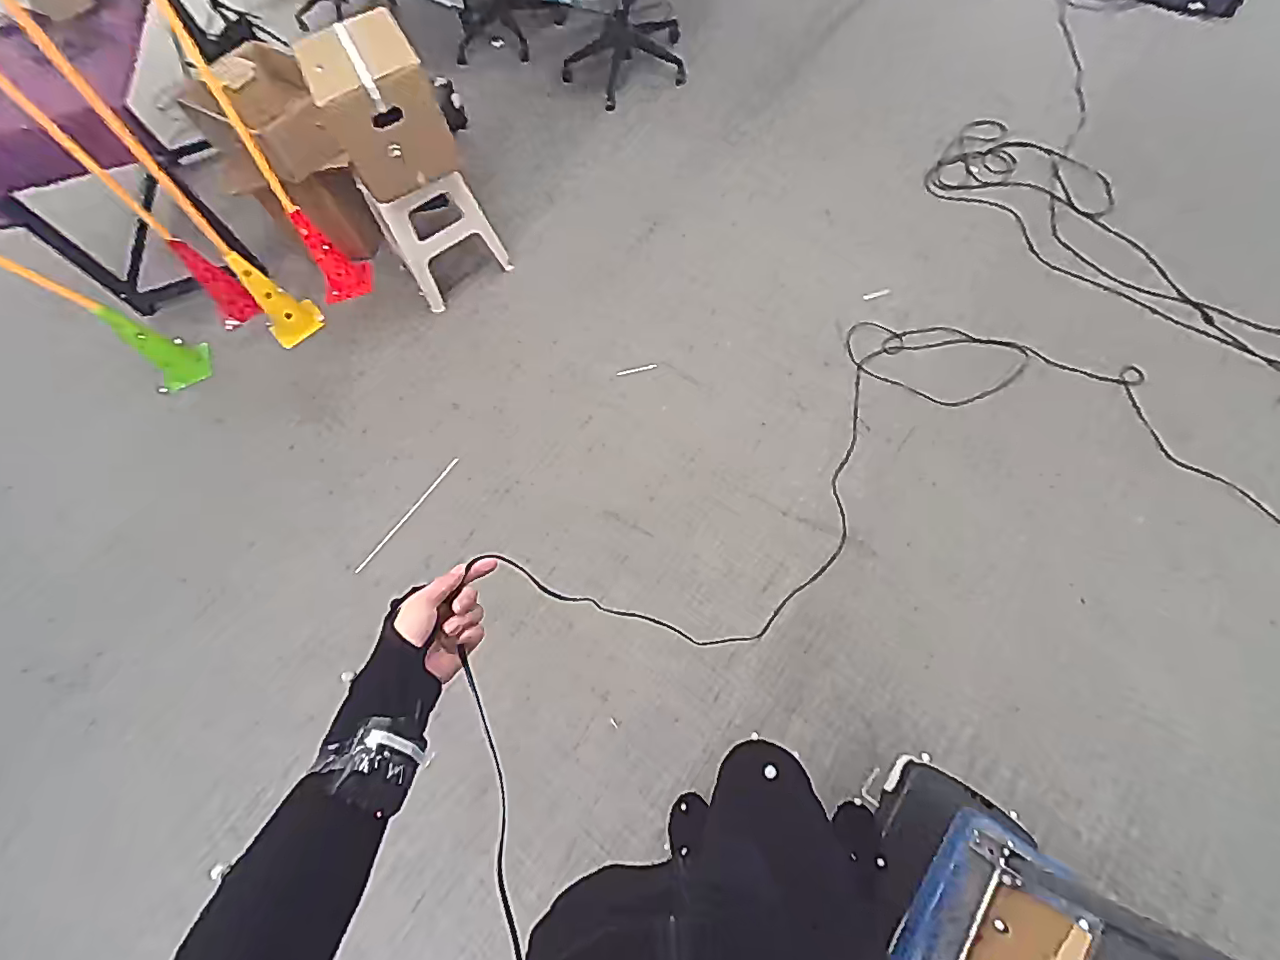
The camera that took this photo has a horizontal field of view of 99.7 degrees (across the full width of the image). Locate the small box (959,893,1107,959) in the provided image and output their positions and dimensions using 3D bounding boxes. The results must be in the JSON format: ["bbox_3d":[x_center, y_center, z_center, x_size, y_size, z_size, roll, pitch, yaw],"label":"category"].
[{"bbox_3d":[0.645,0.795,0.833,0.179,0.176,0.168,39,75,13],"label":"small box"}]
